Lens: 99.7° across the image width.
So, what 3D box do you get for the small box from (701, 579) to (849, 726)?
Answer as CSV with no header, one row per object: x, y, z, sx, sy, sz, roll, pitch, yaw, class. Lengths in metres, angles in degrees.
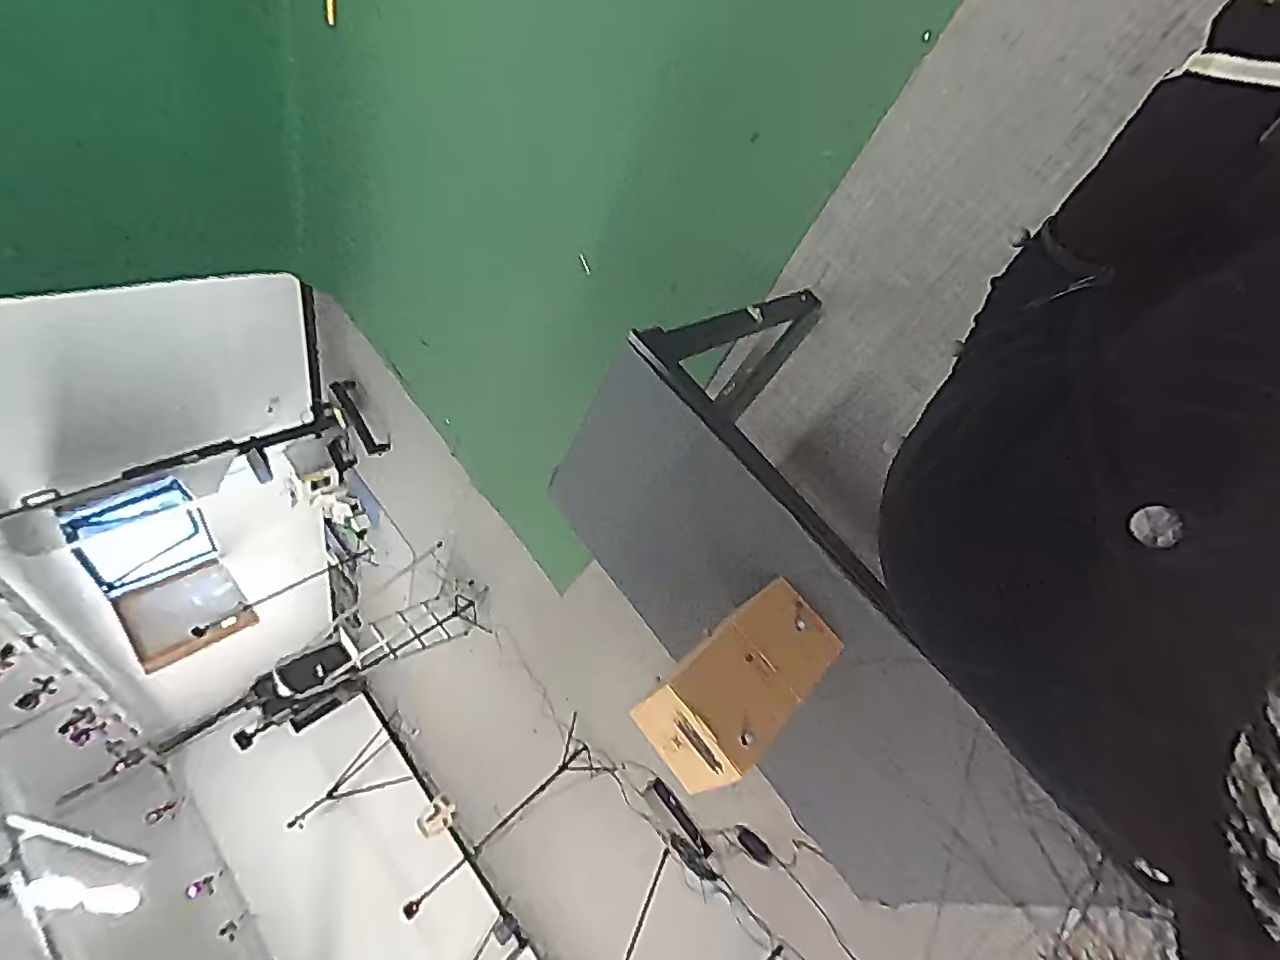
0.251,0.318,1.007,0.168,0.176,0.179,48,139,14,small box
